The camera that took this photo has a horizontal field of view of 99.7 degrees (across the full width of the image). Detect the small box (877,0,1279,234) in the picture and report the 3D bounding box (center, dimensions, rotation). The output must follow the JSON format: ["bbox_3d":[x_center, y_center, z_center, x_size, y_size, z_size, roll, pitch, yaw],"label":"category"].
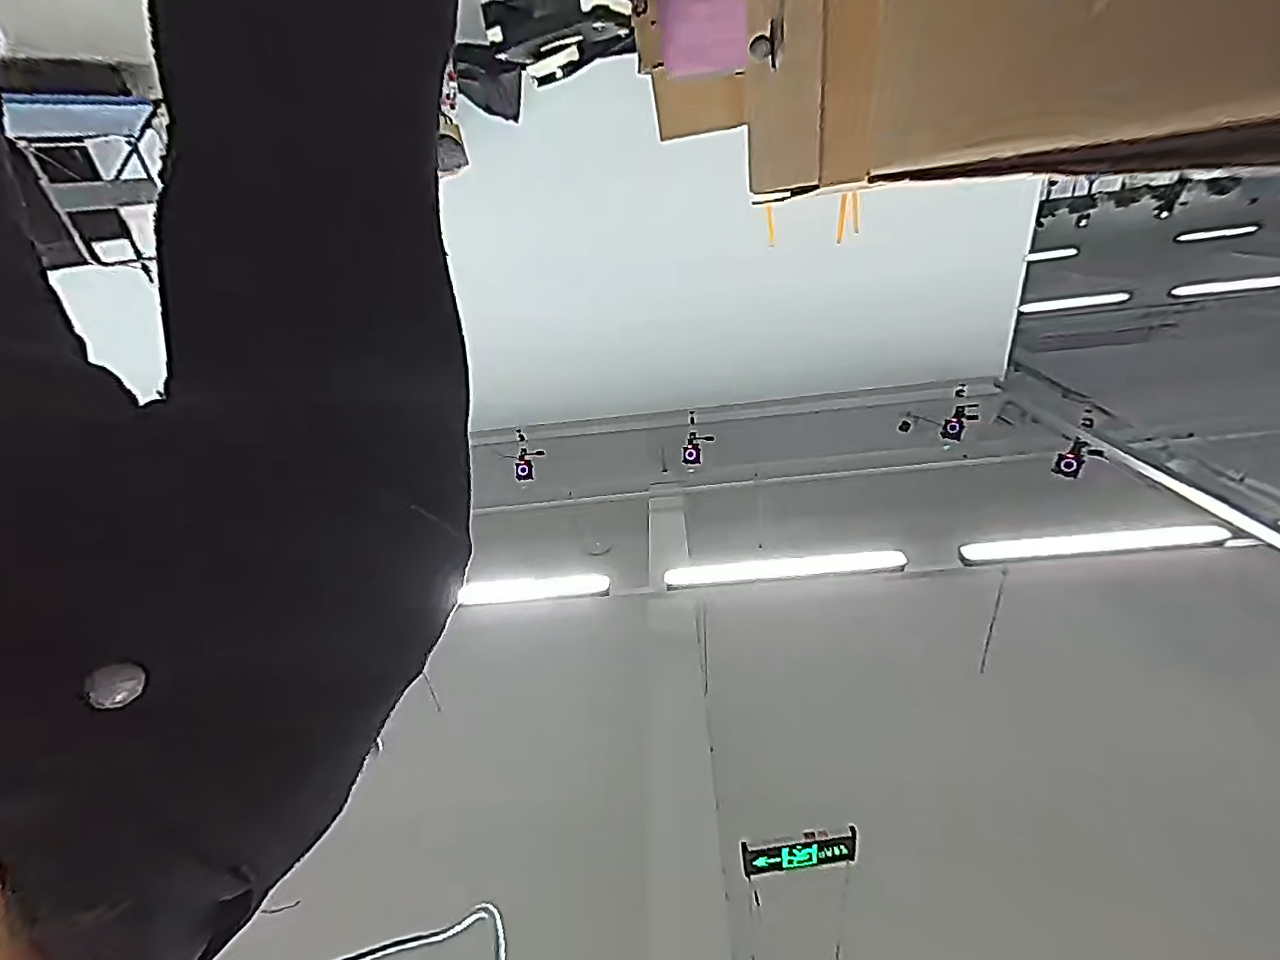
[{"bbox_3d":[0.141,-0.131,0.054,0.168,0.176,0.179,-6,-152,4],"label":"small box"}]
